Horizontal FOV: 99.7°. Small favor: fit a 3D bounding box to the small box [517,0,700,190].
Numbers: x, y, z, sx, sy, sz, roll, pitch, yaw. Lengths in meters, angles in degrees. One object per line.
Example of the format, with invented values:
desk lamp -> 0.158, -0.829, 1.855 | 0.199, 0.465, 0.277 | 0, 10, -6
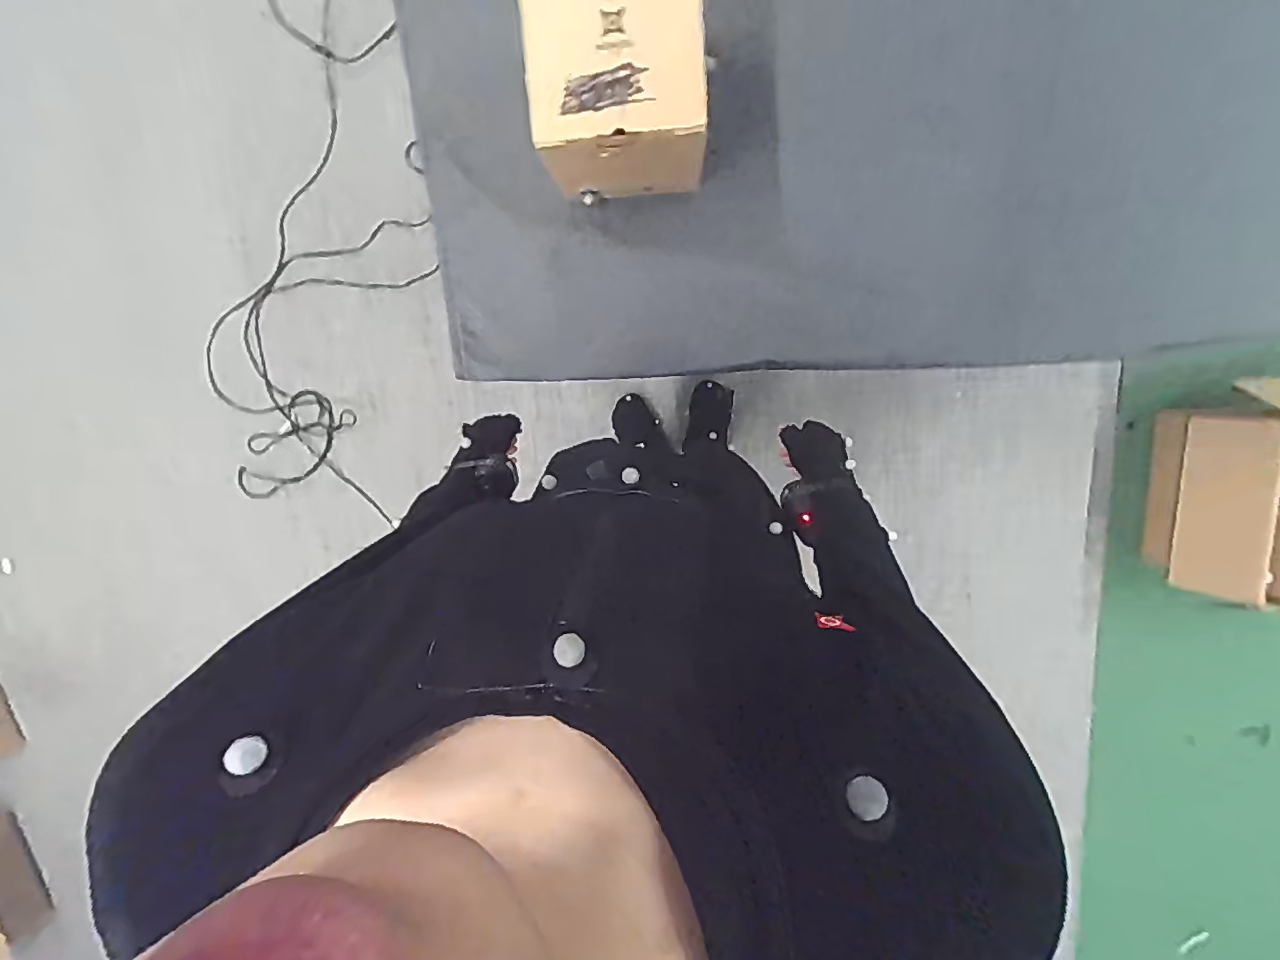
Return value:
small box -> -0.025, -0.424, 0.570 | 0.168, 0.176, 0.179 | -4, 100, 3
